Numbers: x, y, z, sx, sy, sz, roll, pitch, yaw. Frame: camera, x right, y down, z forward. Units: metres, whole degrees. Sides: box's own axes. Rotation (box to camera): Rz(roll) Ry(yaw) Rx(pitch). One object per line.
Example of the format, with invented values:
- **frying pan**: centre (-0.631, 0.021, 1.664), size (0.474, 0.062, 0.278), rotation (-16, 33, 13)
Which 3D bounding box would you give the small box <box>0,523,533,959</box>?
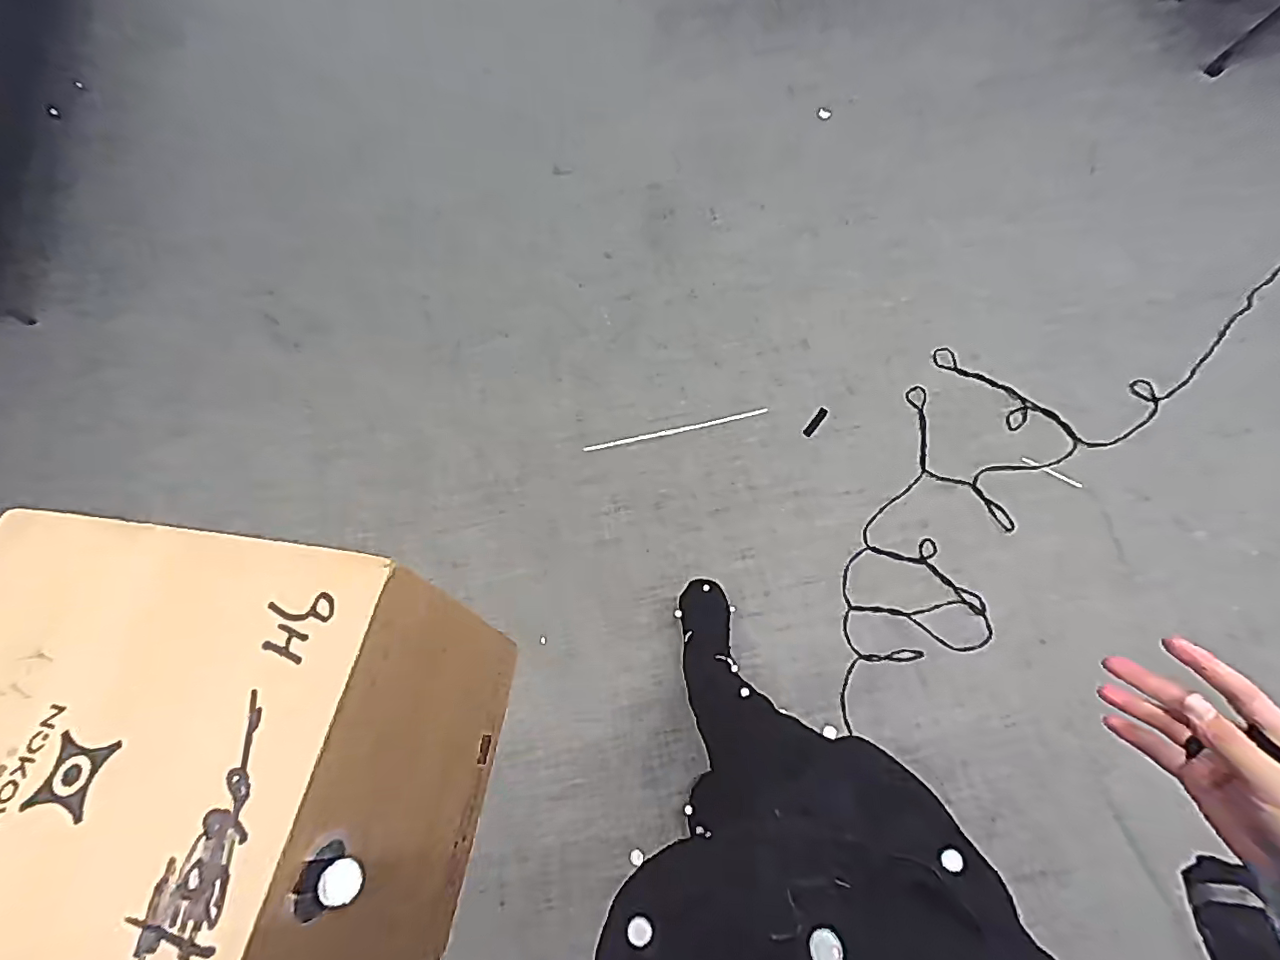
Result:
- **small box**: centre (-0.170, 0.133, 0.251), size (0.179, 0.176, 0.168), rotation (5, 64, 9)
